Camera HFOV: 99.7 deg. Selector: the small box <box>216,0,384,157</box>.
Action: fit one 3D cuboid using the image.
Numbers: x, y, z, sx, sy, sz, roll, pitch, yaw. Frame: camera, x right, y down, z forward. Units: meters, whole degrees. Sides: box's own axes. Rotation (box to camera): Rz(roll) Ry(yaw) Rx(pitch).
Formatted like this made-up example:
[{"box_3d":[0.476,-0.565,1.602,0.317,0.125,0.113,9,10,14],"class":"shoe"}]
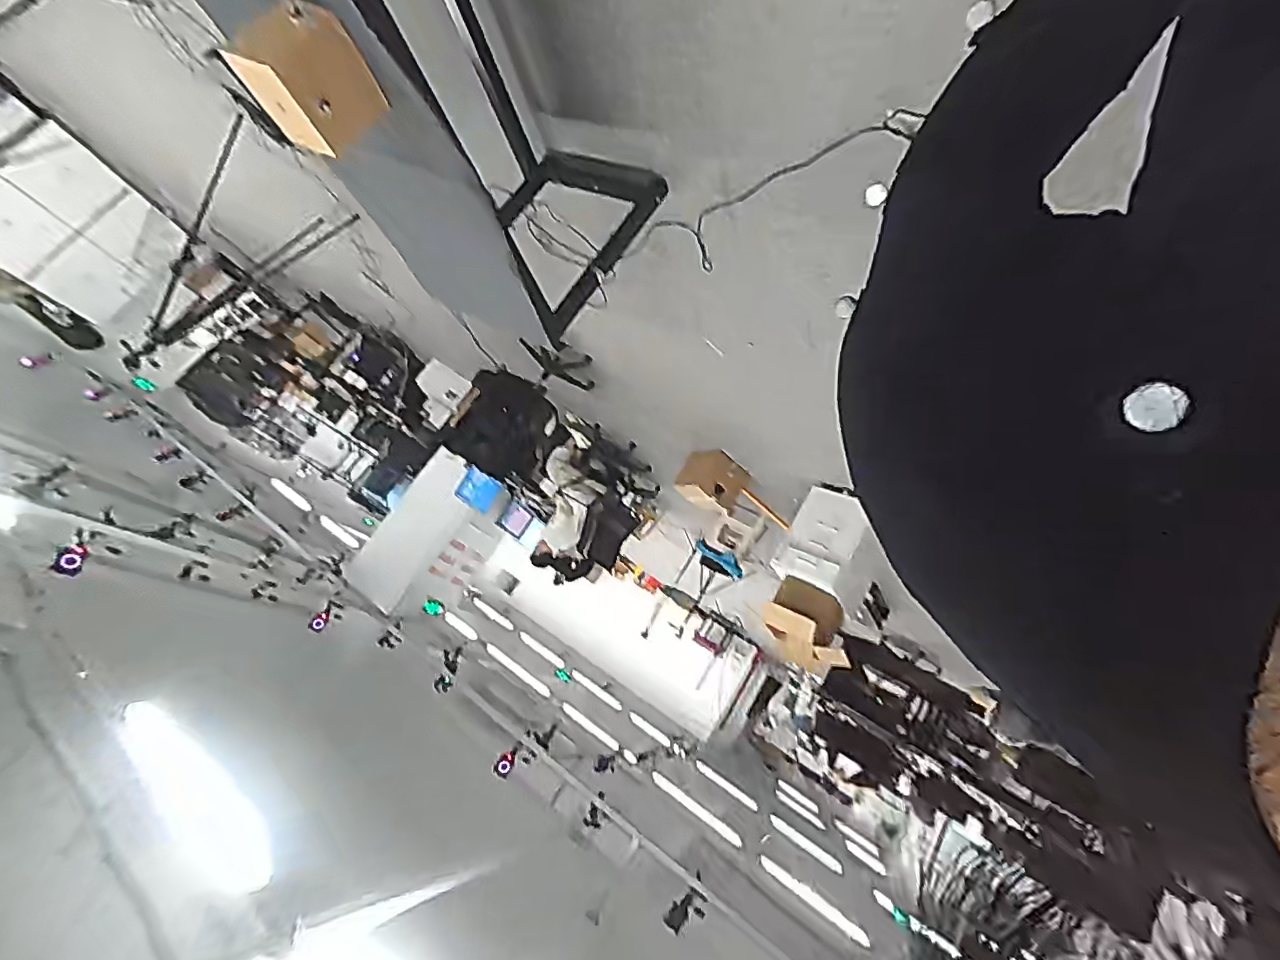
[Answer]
[{"box_3d":[-0.637,-0.772,1.037,0.168,0.176,0.179,28,165,20],"class":"small box"}]
